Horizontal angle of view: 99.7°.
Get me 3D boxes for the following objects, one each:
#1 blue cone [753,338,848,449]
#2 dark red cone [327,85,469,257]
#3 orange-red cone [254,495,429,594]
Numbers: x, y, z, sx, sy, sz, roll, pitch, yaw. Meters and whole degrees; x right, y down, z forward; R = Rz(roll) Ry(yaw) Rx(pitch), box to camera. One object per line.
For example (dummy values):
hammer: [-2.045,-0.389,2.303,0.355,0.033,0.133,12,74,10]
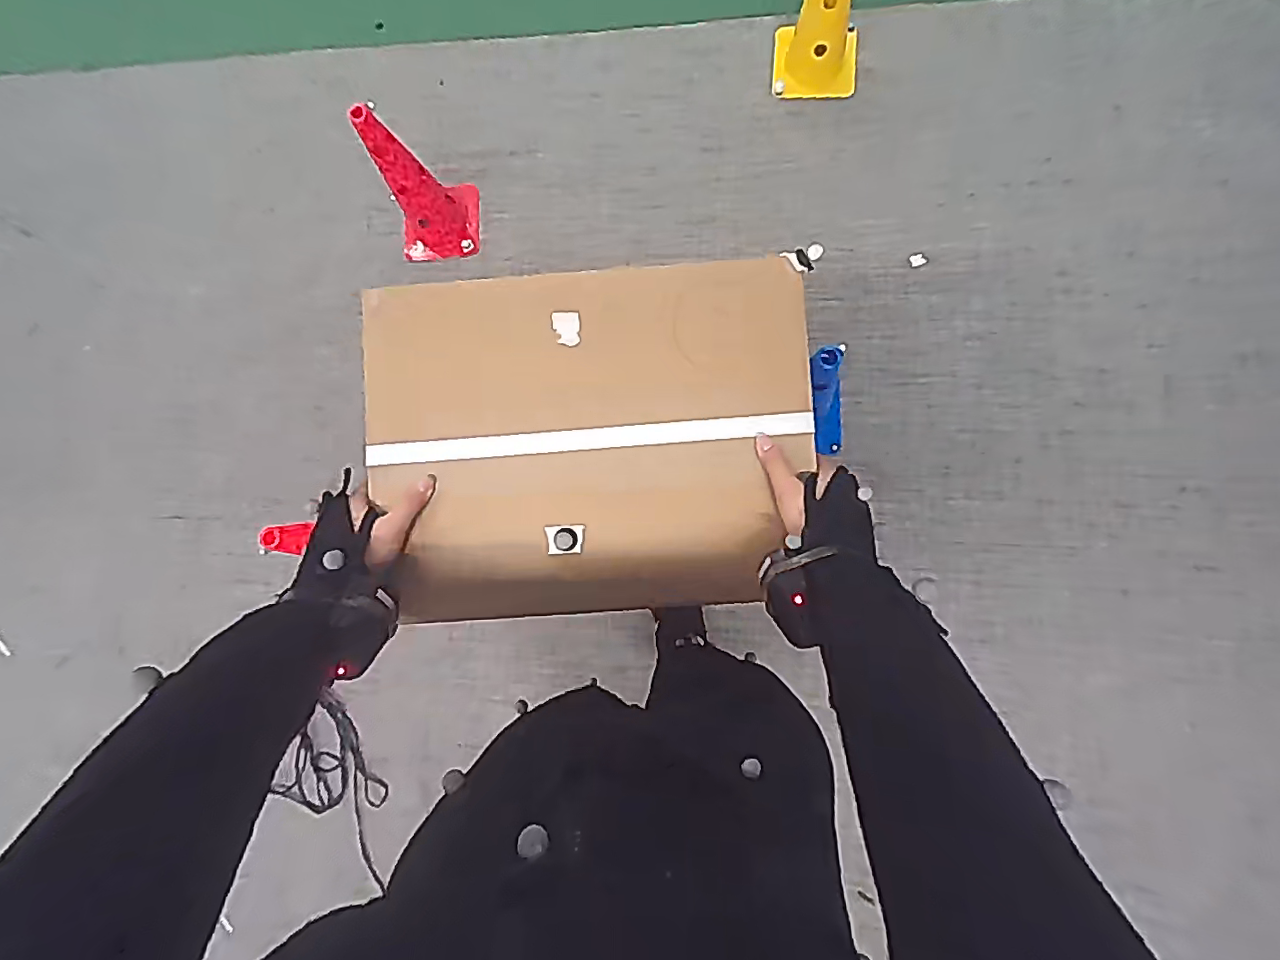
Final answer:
blue cone: [0.335,-0.189,1.066,0.192,0.380,0.193,2,82,7]
dark red cone: [-0.554,-0.703,1.224,0.202,0.394,0.201,-6,77,6]
orange-red cone: [-0.644,0.122,1.127,0.199,0.360,0.198,21,83,11]
